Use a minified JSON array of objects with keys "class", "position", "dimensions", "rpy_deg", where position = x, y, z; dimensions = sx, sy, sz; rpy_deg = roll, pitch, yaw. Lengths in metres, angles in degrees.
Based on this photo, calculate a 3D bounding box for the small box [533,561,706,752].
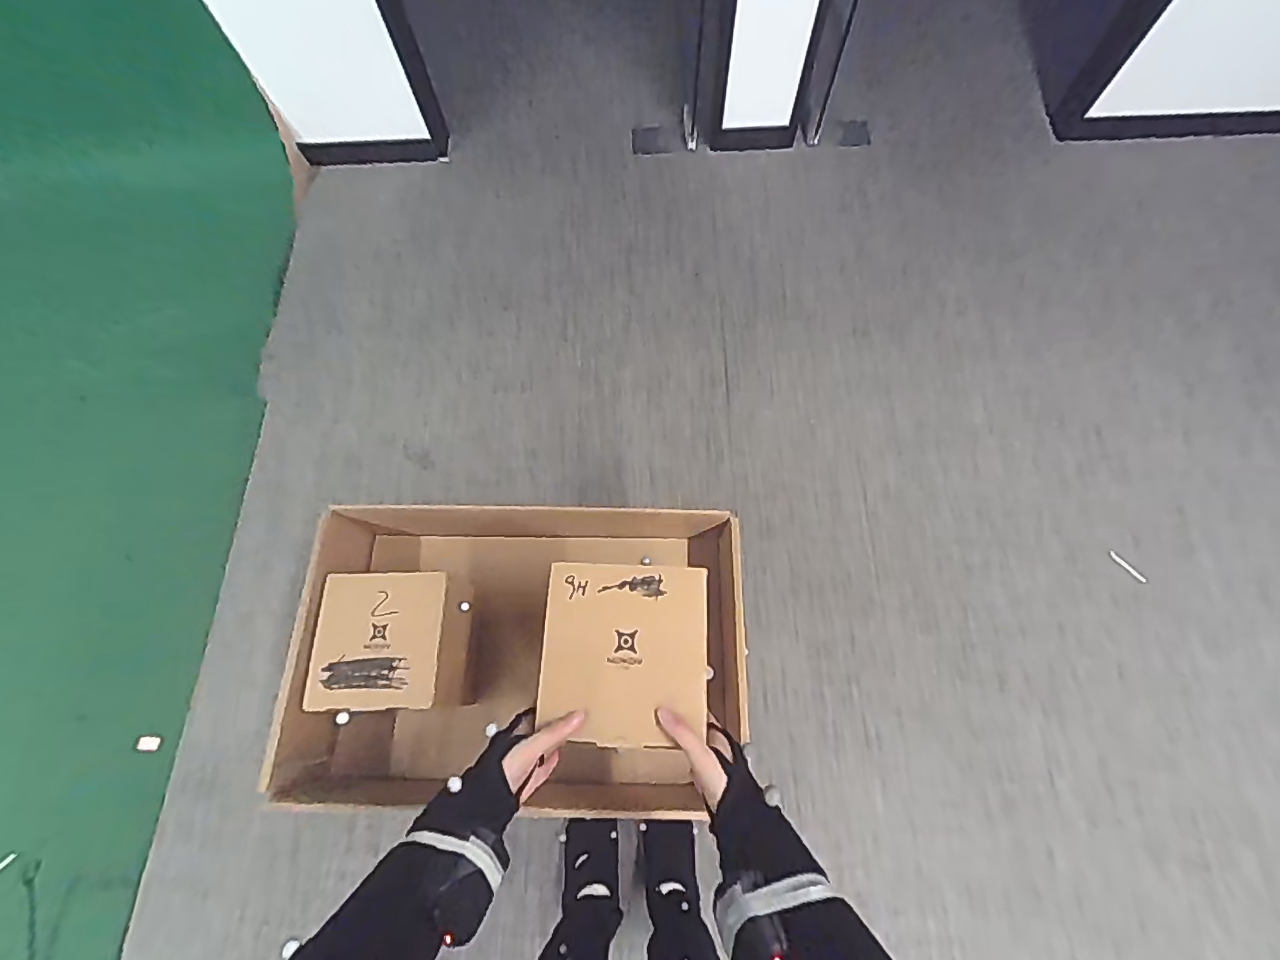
[{"class":"small box","position":[-0.014,0.198,0.616],"dimensions":[0.168,0.176,0.179],"rpy_deg":[2,70,2]}]
